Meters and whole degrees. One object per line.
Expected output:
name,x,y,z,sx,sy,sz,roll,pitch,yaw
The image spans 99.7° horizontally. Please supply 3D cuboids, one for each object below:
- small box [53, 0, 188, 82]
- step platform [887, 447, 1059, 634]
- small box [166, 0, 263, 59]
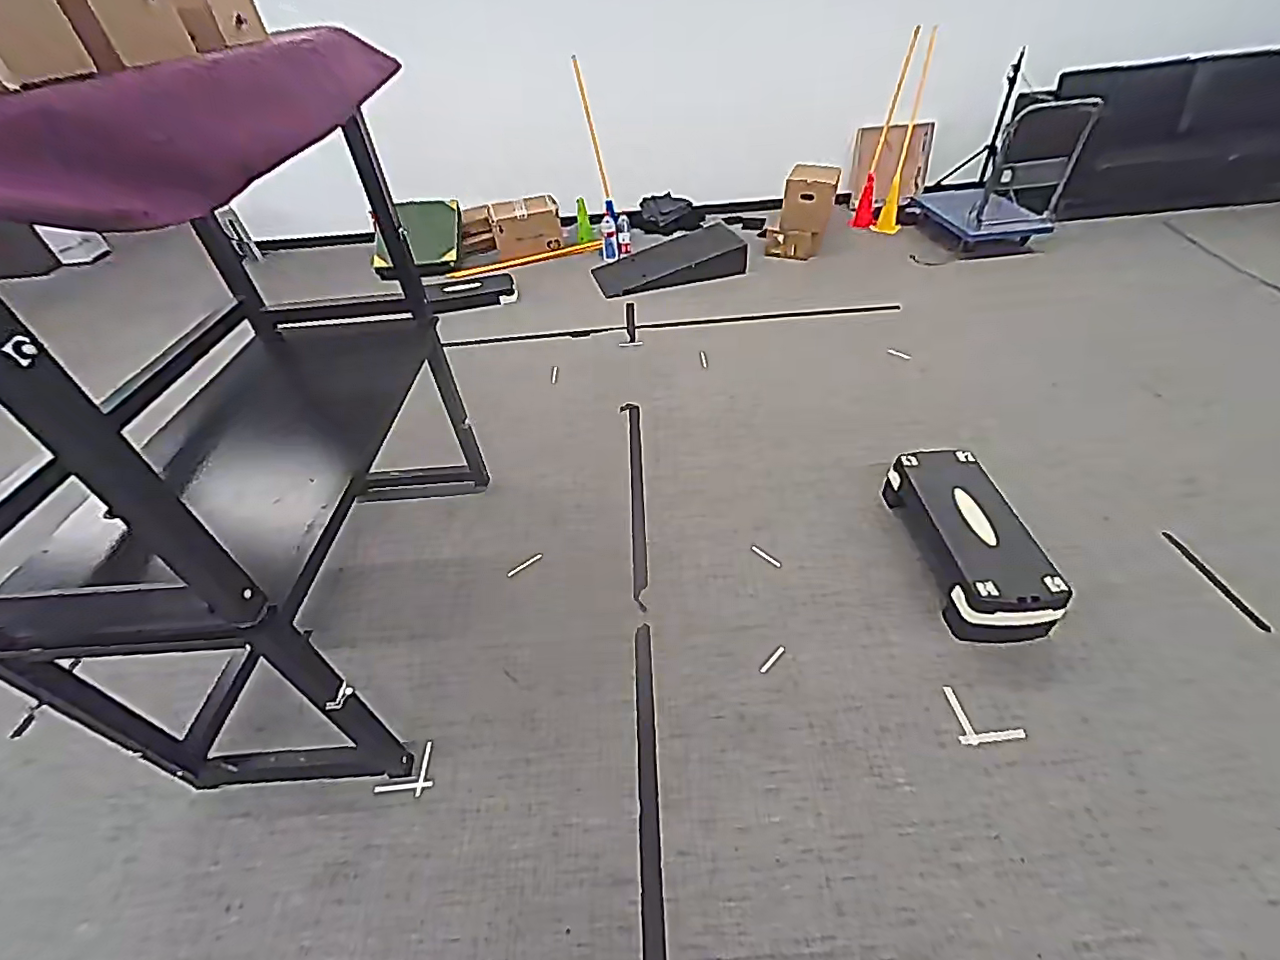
small box,-0.873,-0.739,0.850,0.168,0.176,0.179,-1,43,6
step platform,1.075,0.166,1.812,0.286,0.204,0.684,-1,42,5
small box,-0.923,-0.976,1.109,0.168,0.176,0.179,-4,42,3
